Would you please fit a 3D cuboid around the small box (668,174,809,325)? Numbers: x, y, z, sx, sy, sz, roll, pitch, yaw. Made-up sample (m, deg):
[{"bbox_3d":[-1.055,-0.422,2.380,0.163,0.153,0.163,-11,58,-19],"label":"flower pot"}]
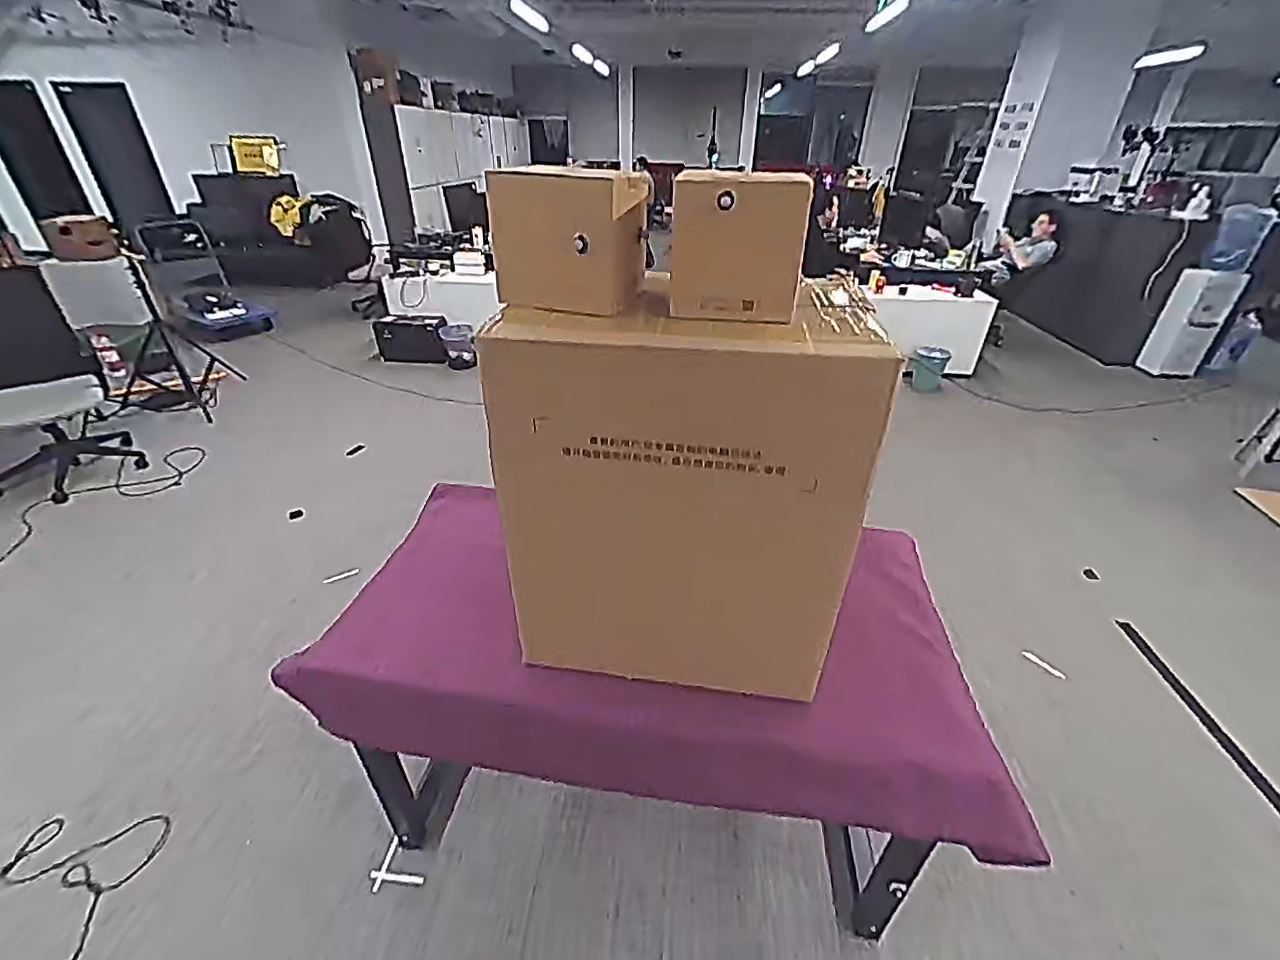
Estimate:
[{"bbox_3d":[0.130,-0.325,0.751,0.168,0.176,0.179,4,31,7],"label":"small box"}]
